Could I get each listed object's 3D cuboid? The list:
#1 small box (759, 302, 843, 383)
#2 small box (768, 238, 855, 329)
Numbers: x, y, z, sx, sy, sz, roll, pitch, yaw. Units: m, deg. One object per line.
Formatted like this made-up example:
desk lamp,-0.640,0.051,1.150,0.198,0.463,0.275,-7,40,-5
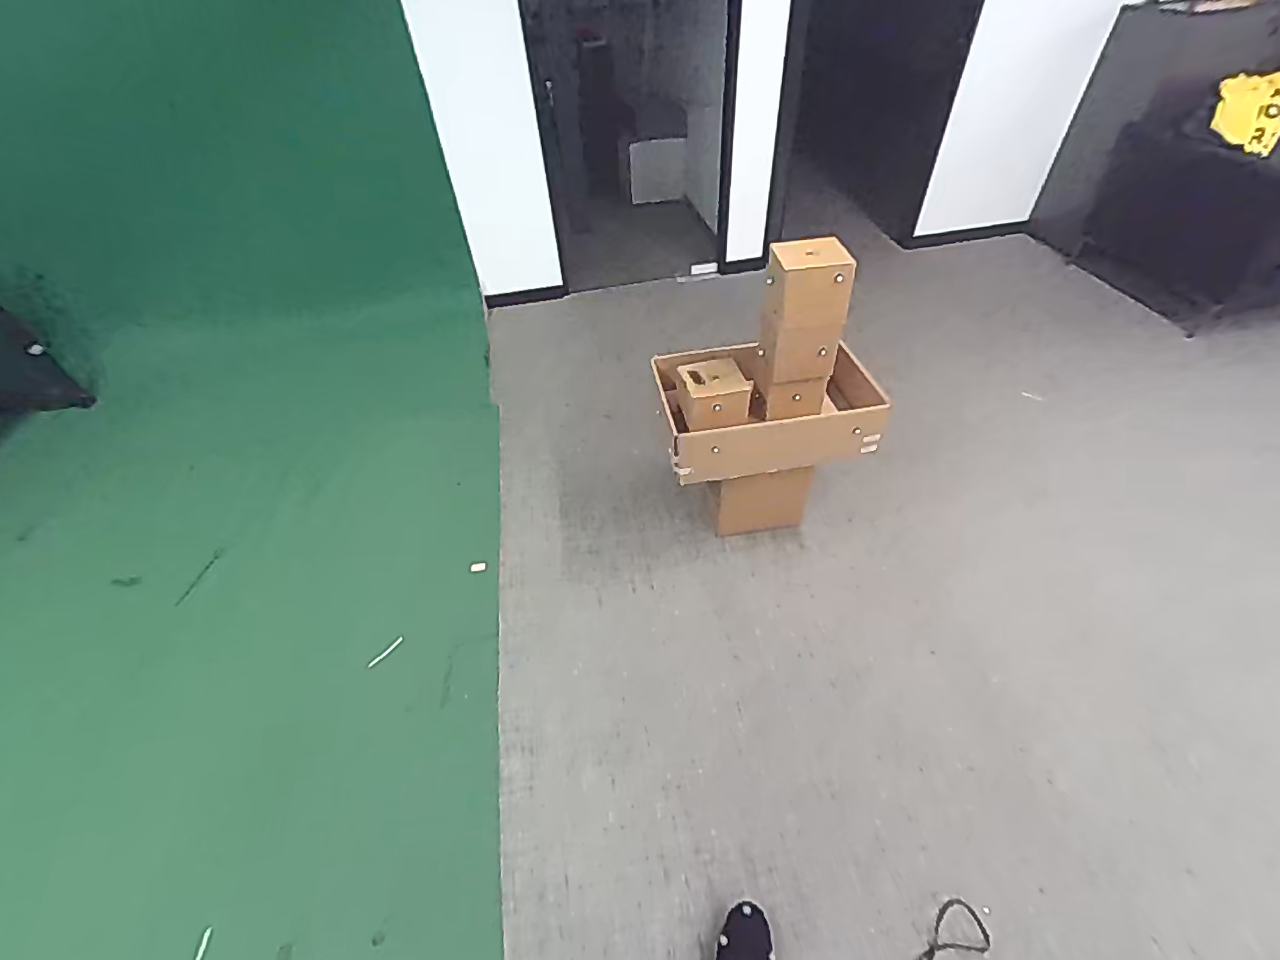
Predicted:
small box,0.446,-0.394,1.526,0.179,0.176,0.168,-8,45,0
small box,0.436,-0.508,1.411,0.179,0.176,0.168,-6,45,0
